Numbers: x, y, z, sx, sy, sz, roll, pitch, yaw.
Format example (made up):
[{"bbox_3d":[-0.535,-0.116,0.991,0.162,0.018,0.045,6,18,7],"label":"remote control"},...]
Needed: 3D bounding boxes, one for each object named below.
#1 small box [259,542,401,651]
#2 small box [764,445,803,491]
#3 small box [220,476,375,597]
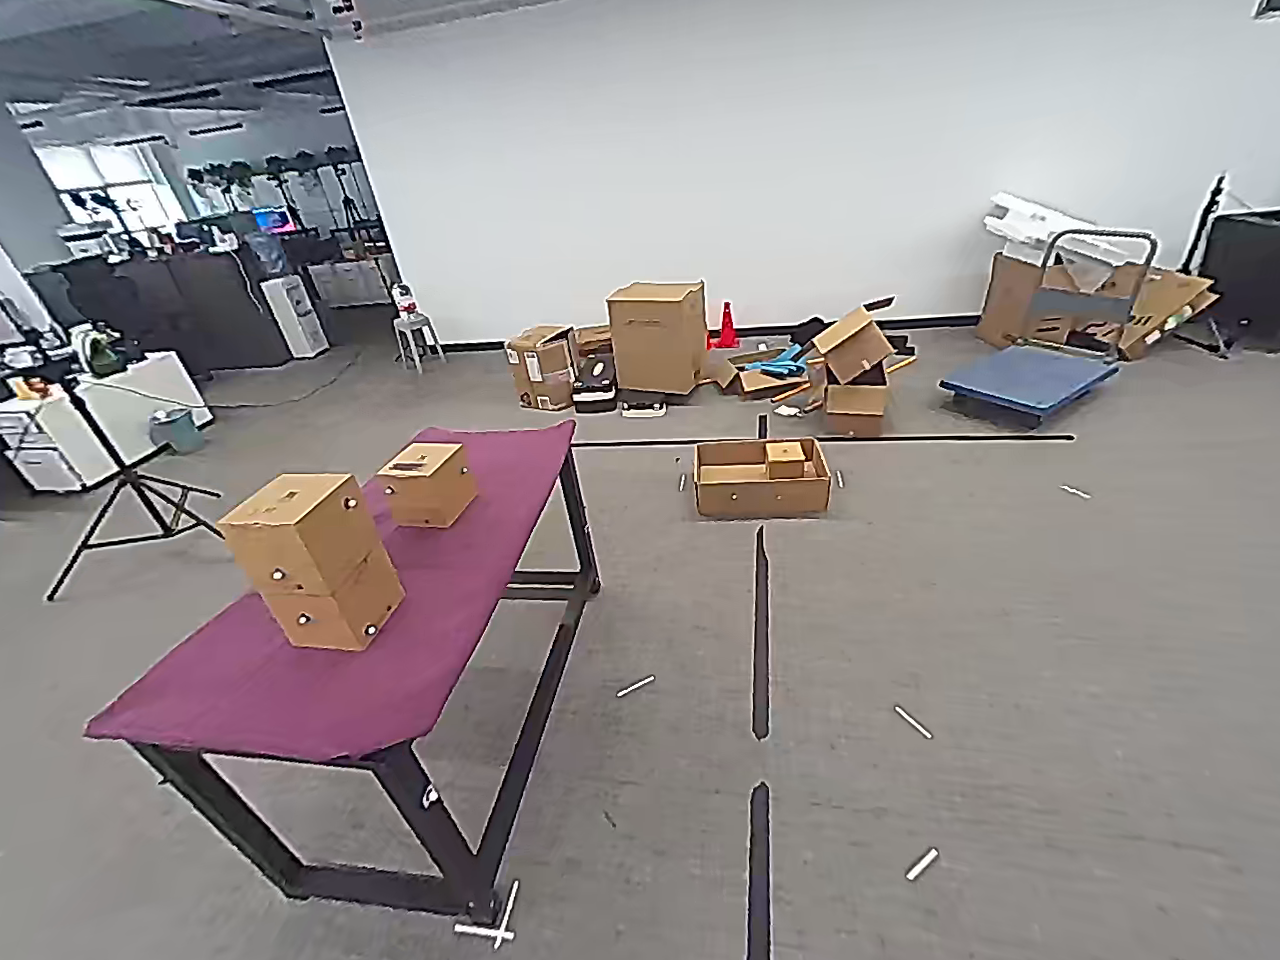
[{"bbox_3d":[-0.646,0.245,1.155,0.179,0.176,0.168,0,32,12],"label":"small box"},{"bbox_3d":[0.704,-0.059,2.664,0.168,0.176,0.179,-3,32,8],"label":"small box"},{"bbox_3d":[-0.655,0.107,1.065,0.168,0.176,0.179,0,32,11],"label":"small box"}]
